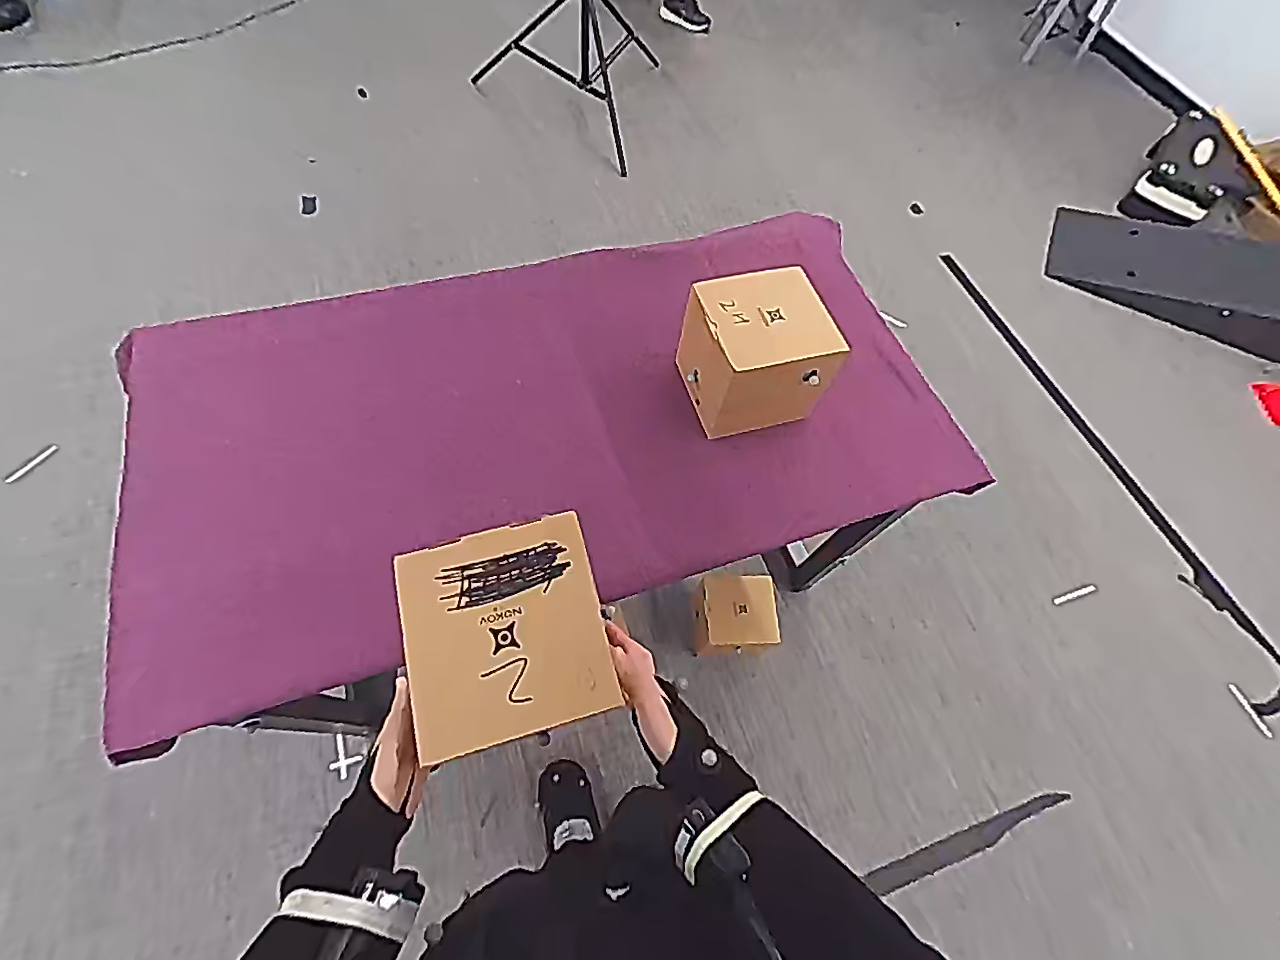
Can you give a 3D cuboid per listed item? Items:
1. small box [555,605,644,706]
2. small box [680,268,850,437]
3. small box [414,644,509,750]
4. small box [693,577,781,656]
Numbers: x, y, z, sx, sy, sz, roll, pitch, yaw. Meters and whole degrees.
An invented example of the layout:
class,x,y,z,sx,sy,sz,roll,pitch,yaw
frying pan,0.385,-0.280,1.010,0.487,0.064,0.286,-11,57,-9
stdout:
class,x,y,z,sx,sy,sz,roll,pitch,yaw
small box,-0.101,0.425,1.299,0.168,0.176,0.179,-16,66,-13
small box,0.174,-0.187,0.817,0.179,0.176,0.168,-14,64,-11
small box,-0.403,0.499,1.234,0.168,0.176,0.179,-13,63,-12
small box,0.240,0.349,1.371,0.179,0.176,0.168,0,63,-4
